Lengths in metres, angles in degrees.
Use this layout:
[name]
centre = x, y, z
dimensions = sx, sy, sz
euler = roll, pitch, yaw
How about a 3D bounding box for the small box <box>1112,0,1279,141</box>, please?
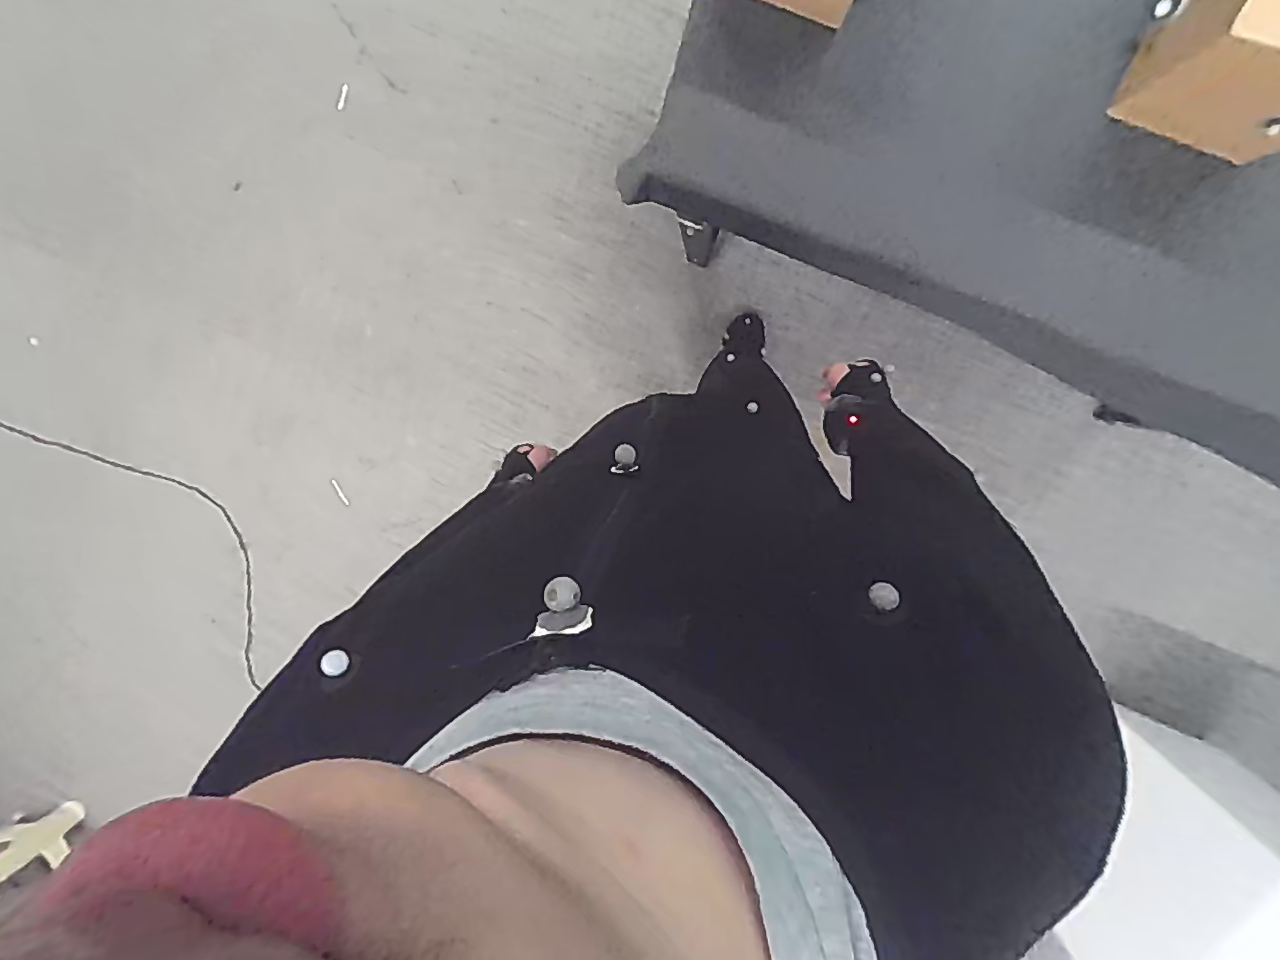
[small box]
centre = 0.663, -0.482, 0.554
dimensions = 0.179, 0.176, 0.168
euler = 22, 104, 1
